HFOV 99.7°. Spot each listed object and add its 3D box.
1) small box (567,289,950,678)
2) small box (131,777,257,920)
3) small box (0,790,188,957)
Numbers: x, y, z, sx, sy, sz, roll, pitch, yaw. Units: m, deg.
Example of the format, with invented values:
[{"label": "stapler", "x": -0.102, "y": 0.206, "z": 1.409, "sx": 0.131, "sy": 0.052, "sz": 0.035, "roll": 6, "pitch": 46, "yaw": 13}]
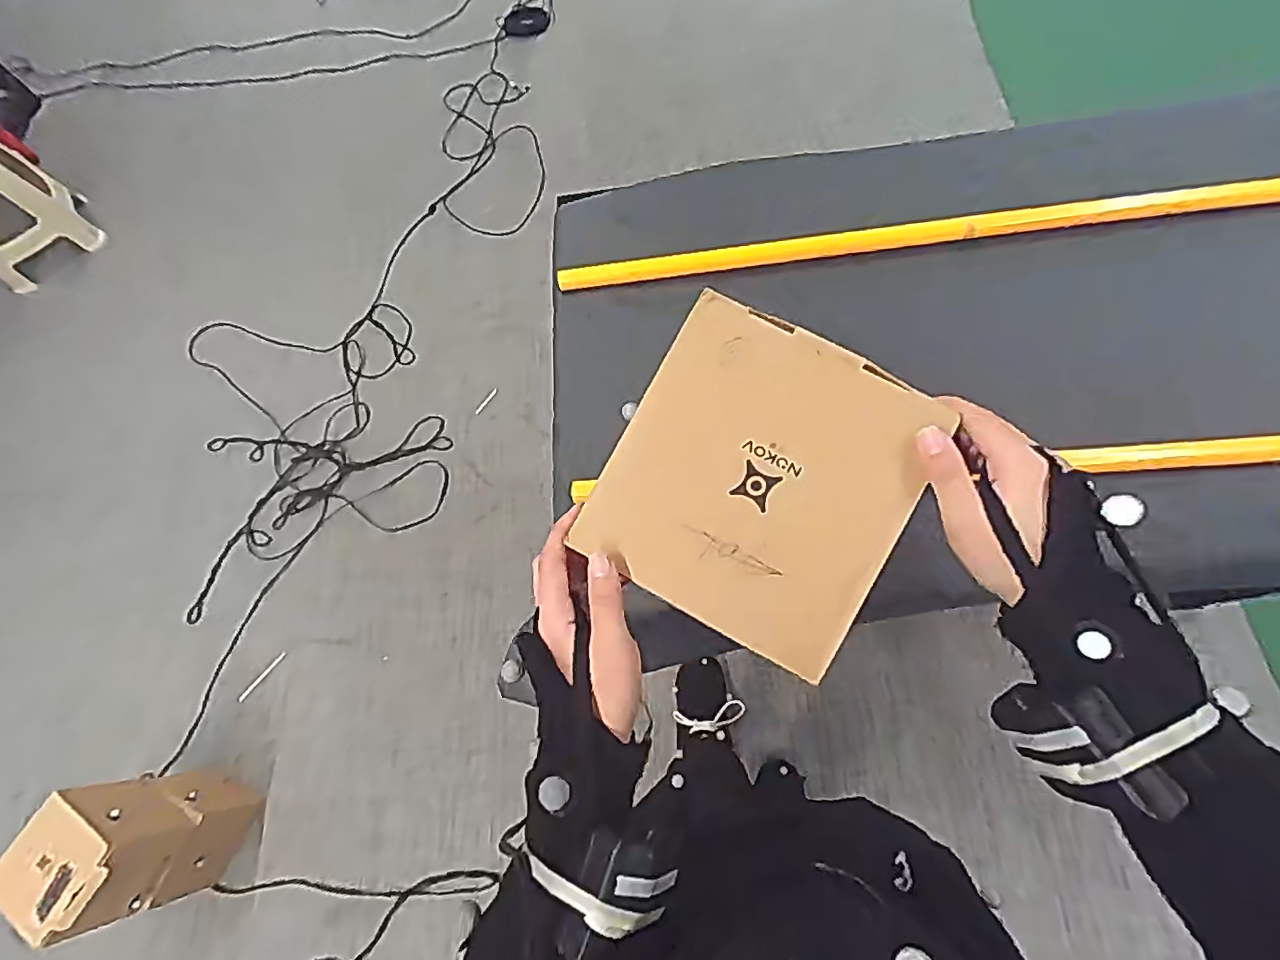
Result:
[{"label": "small box", "x": 0.072, "y": 0.004, "z": 0.390, "sx": 0.168, "sy": 0.176, "sz": 0.179, "roll": 28, "pitch": 88, "yaw": 8}, {"label": "small box", "x": -0.962, "y": 0.755, "z": 1.131, "sx": 0.168, "sy": 0.176, "sz": 0.179, "roll": 20, "pitch": 71, "yaw": 15}, {"label": "small box", "x": -0.992, "y": 0.691, "z": 0.981, "sx": 0.179, "sy": 0.176, "sz": 0.168, "roll": 25, "pitch": 72, "yaw": 17}]
